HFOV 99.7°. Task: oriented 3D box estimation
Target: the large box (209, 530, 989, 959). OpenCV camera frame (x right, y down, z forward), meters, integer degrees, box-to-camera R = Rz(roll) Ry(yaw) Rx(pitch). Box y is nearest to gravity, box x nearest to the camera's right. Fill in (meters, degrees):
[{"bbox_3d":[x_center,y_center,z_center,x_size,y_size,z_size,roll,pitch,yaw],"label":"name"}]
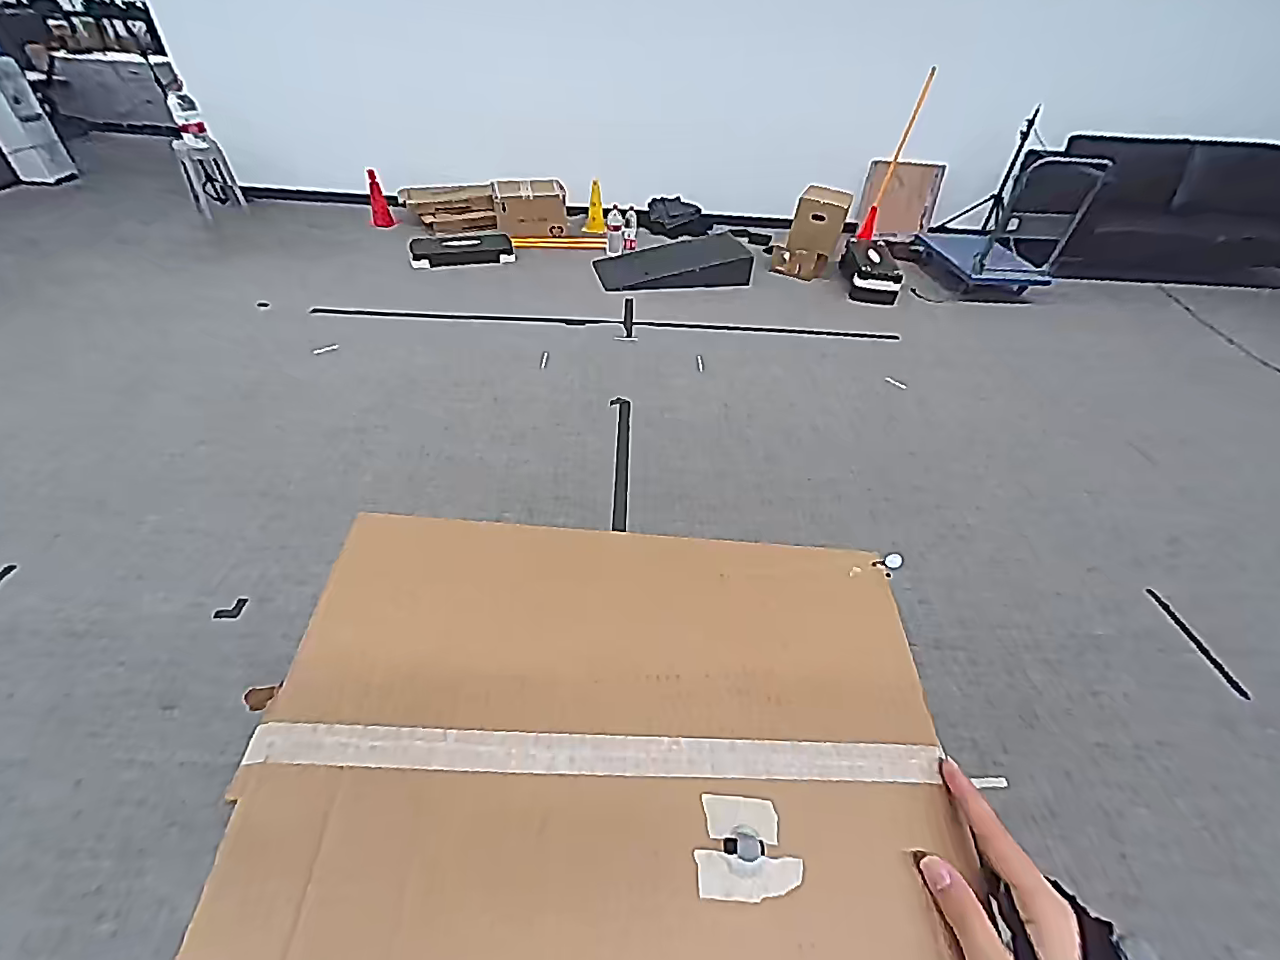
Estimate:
[{"bbox_3d":[-0.028,0.263,0.445,0.408,0.320,0.320,5,52,-6],"label":"large box"}]
